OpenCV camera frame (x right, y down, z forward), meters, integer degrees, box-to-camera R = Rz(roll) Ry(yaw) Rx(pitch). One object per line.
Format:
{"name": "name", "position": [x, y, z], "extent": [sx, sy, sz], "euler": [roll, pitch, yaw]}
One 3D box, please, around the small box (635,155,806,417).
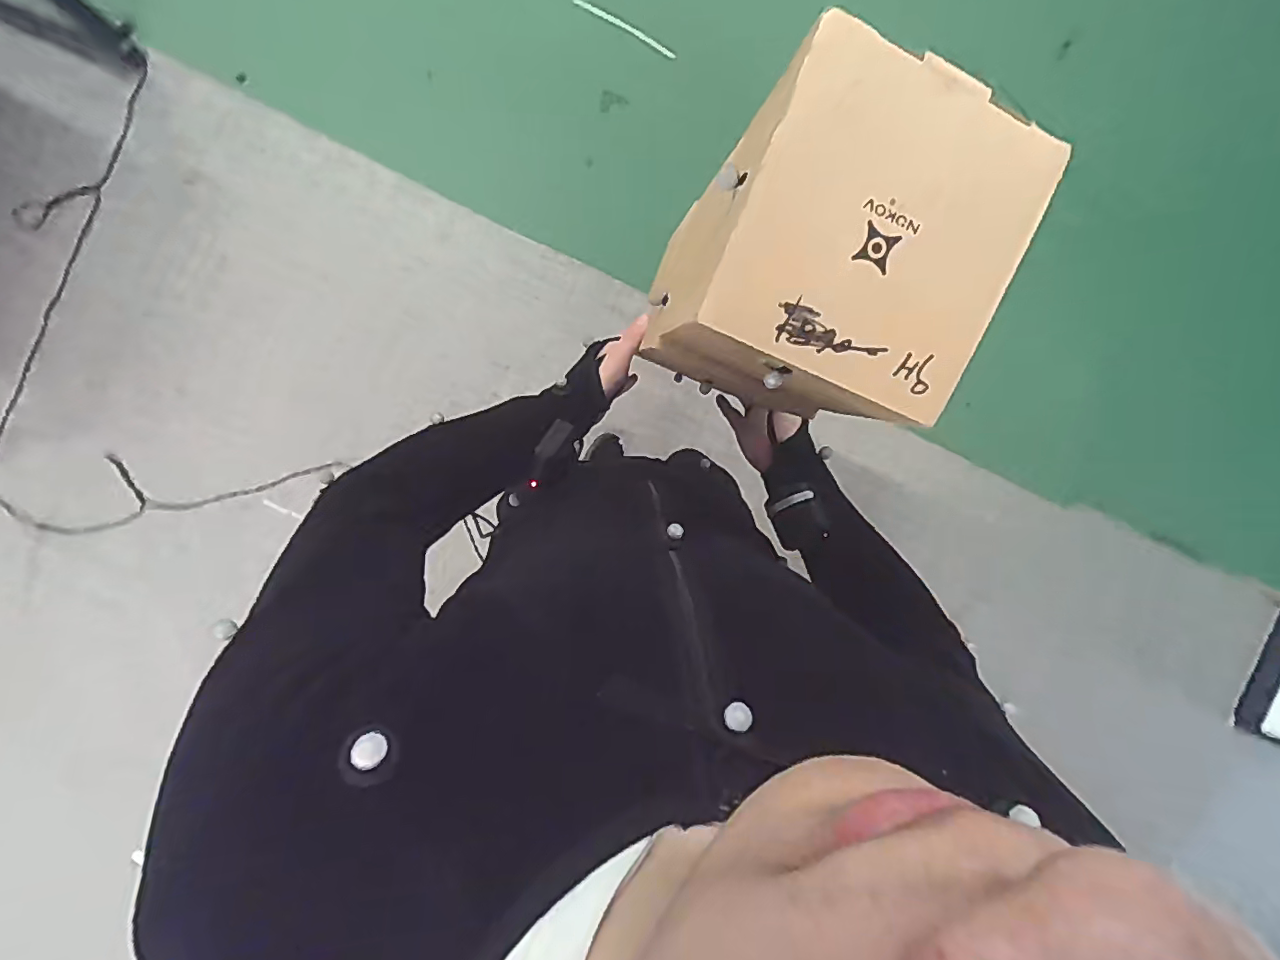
{"name": "small box", "position": [0.101, -0.181, 0.549], "extent": [0.168, 0.176, 0.179], "euler": [22, 99, -10]}

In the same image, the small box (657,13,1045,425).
{"name": "small box", "position": [0.121, -0.158, 0.389], "extent": [0.168, 0.176, 0.179], "euler": [21, 99, -9]}
